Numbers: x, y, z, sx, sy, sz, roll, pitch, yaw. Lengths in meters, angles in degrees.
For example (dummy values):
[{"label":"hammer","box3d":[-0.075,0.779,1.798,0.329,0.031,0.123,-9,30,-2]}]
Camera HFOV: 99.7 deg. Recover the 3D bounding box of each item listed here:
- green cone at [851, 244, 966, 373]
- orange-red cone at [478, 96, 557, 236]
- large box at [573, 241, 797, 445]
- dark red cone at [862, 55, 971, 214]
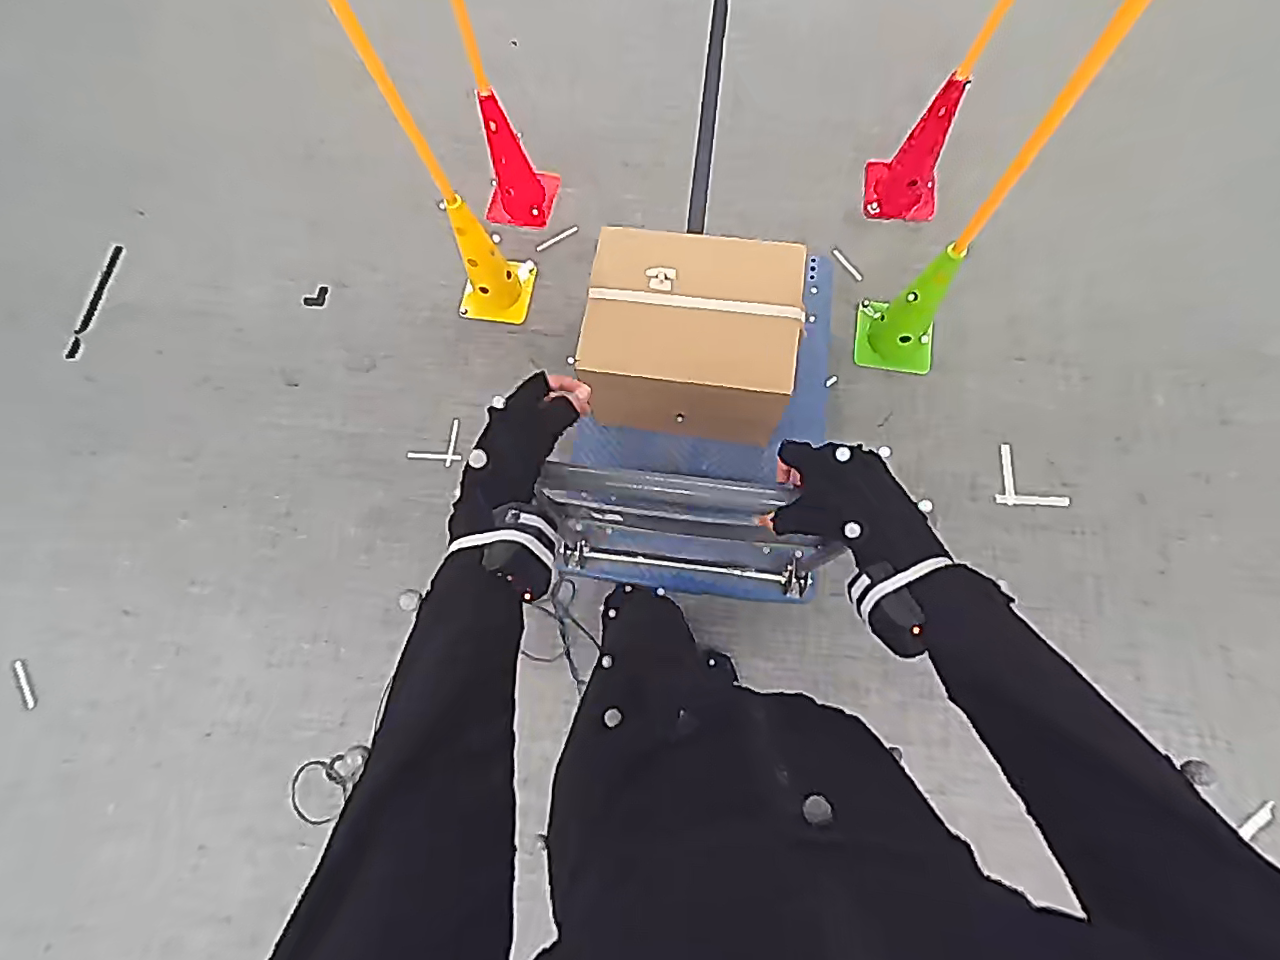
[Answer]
[{"label":"green cone","box3d":[0.678,-0.436,1.320,0.202,0.368,0.200,9,76,5]},{"label":"orange-red cone","box3d":[-0.382,-0.906,1.530,0.198,0.360,0.199,12,75,7]},{"label":"large box","box3d":[0.104,-0.279,1.174,0.408,0.320,0.320,7,76,7]},{"label":"dark red cone","box3d":[0.747,-0.906,1.422,0.201,0.394,0.202,5,76,4]}]
